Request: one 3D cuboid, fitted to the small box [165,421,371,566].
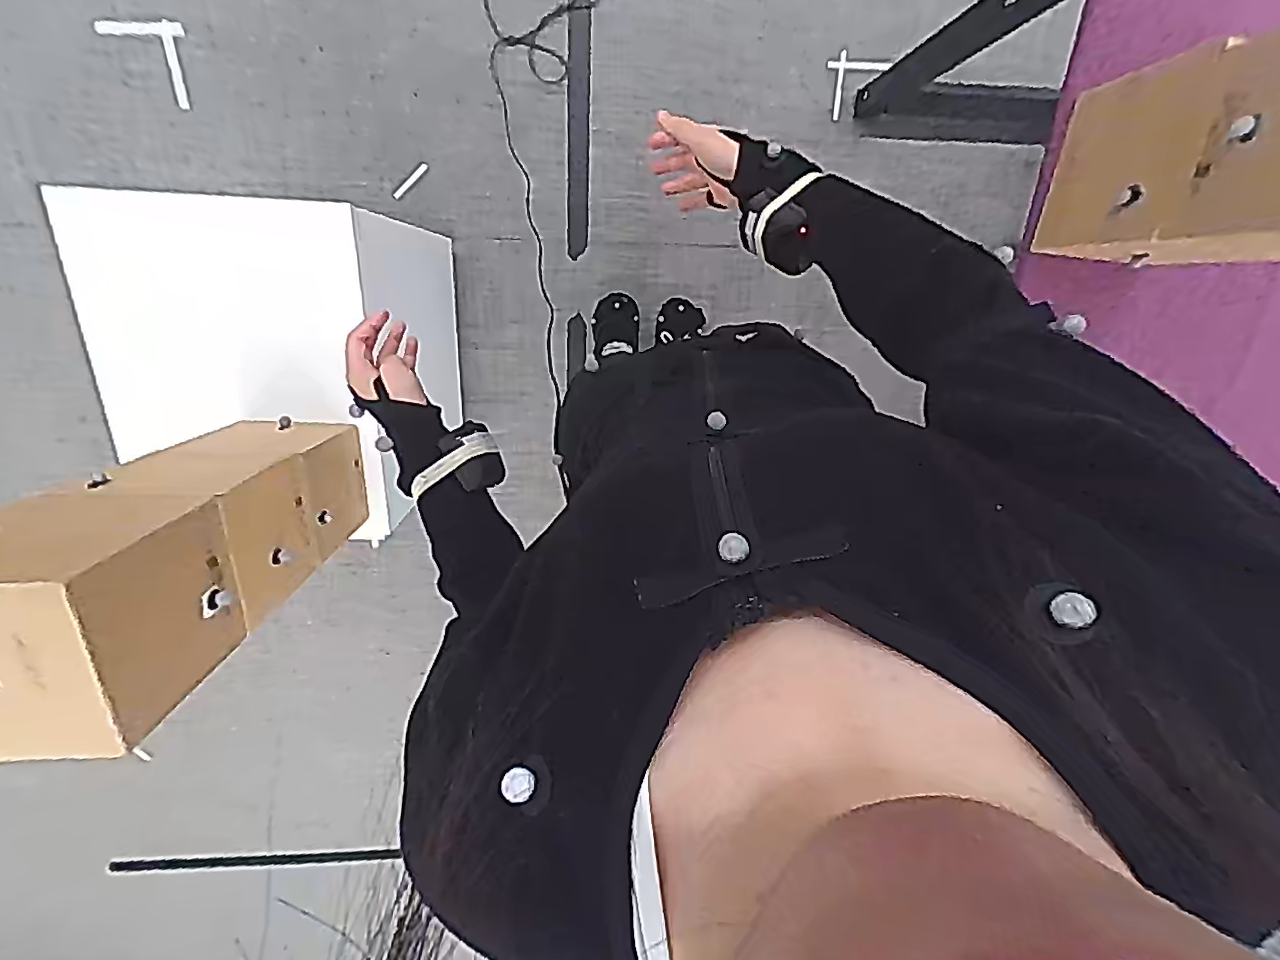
[{"bbox_3d":[-0.522,0.013,0.787,0.179,0.176,0.168,1,109,-4],"label":"small box"}]

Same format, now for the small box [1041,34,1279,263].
[{"bbox_3d":[0.598,-0.343,0.599,0.168,0.176,0.179,4,109,-6],"label":"small box"}]

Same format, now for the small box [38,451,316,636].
[{"bbox_3d":[-0.509,0.066,0.633,0.179,0.176,0.168,0,109,-4],"label":"small box"}]

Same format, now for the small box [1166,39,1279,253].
[{"bbox_3d":[0.619,-0.284,0.447,0.179,0.176,0.168,4,109,-5],"label":"small box"}]

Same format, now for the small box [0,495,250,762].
[{"bbox_3d":[-0.500,0.118,0.480,0.179,0.176,0.168,-1,110,-5],"label":"small box"}]
